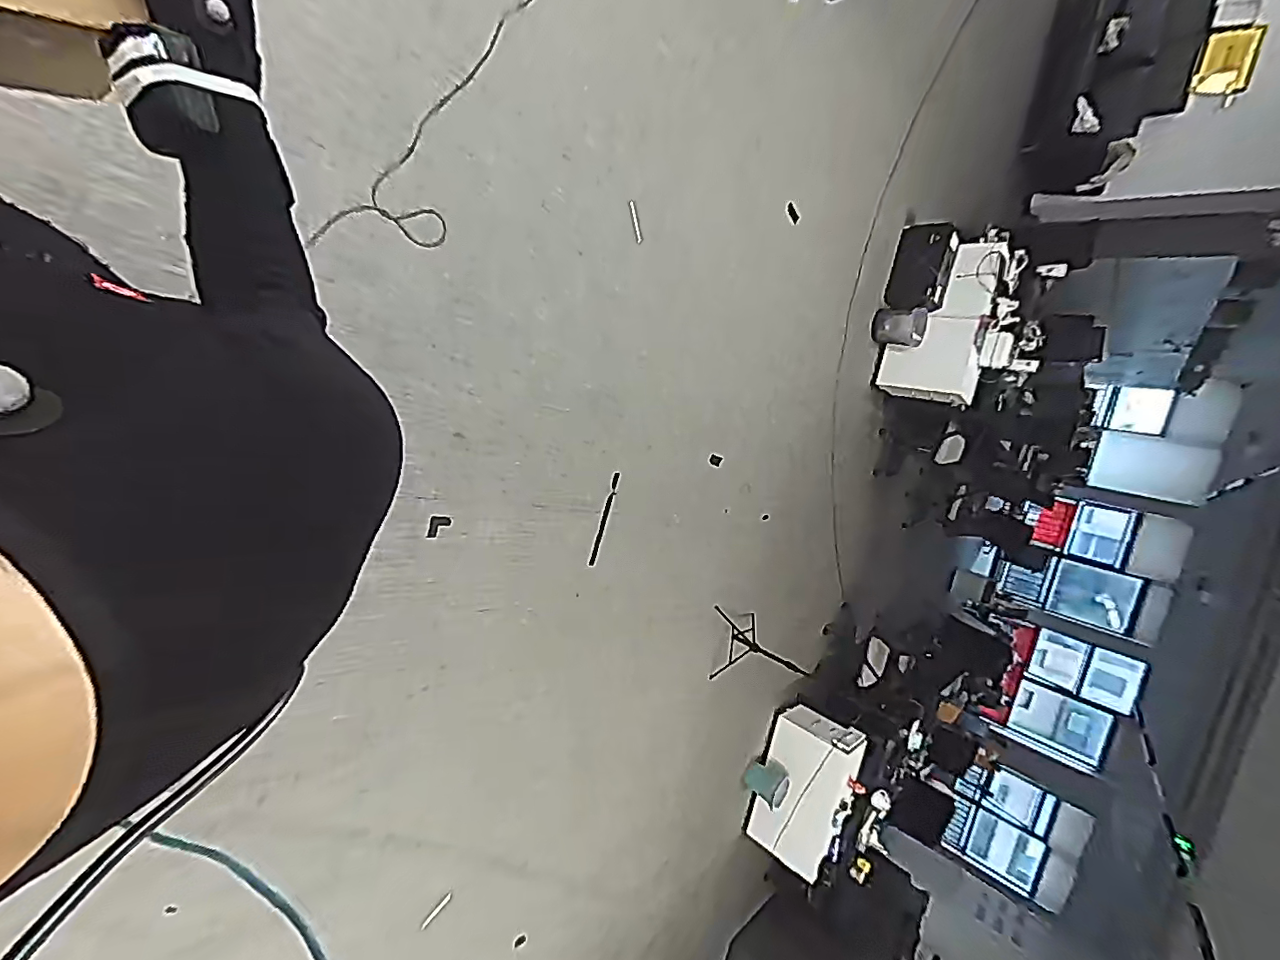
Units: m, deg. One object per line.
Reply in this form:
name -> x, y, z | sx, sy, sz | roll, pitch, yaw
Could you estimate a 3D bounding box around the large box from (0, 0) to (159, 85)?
large box -> -0.585, -0.451, 0.280 | 0.408, 0.320, 0.320 | -24, 125, -45
